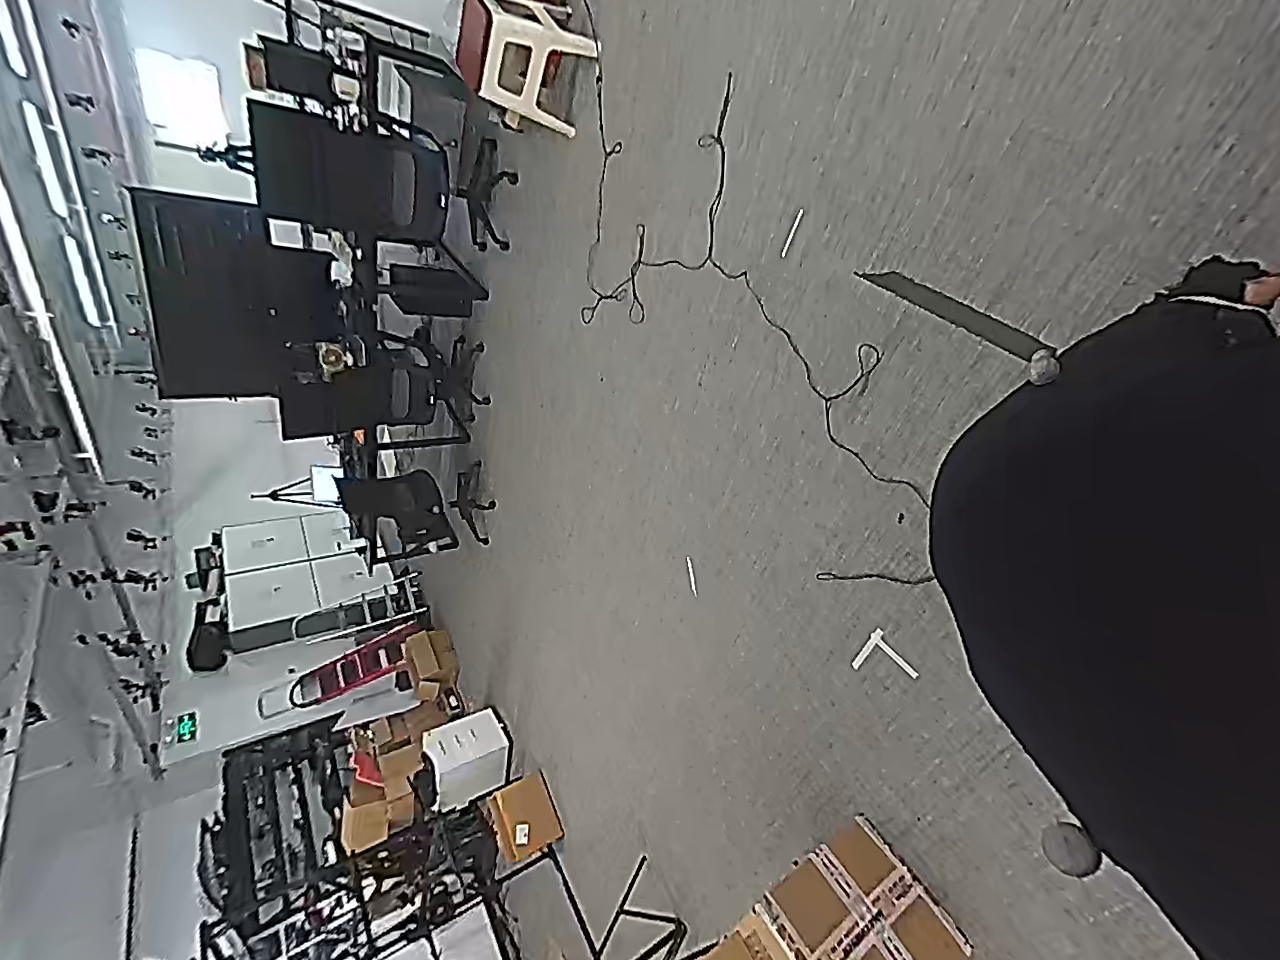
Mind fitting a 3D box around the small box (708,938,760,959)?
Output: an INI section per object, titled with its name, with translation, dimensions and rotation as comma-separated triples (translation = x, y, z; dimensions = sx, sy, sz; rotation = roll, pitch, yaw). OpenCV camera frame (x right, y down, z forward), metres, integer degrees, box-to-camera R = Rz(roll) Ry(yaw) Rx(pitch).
[small box]
translation = 0.247, 1.384, 1.454
dimensions = 0.179, 0.176, 0.168
rotation = 49, 133, 39
